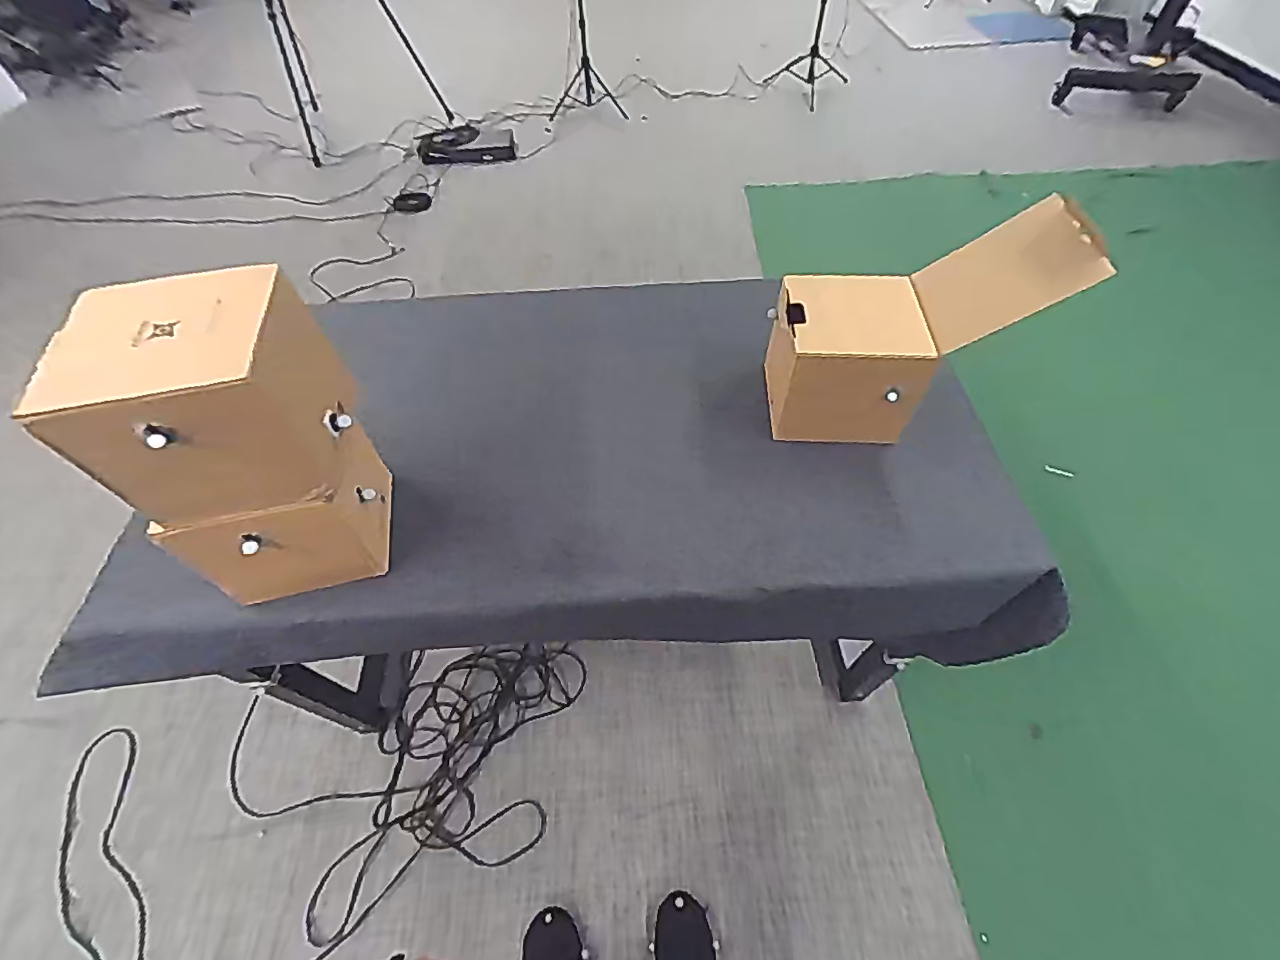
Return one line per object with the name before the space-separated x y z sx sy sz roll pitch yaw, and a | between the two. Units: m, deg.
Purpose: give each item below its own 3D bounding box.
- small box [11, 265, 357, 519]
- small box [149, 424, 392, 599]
small box | -0.409 -0.080 0.529 0.179 0.176 0.168 -11 55 -7
small box | -0.420 0.023 0.655 0.179 0.176 0.168 -12 54 -6
